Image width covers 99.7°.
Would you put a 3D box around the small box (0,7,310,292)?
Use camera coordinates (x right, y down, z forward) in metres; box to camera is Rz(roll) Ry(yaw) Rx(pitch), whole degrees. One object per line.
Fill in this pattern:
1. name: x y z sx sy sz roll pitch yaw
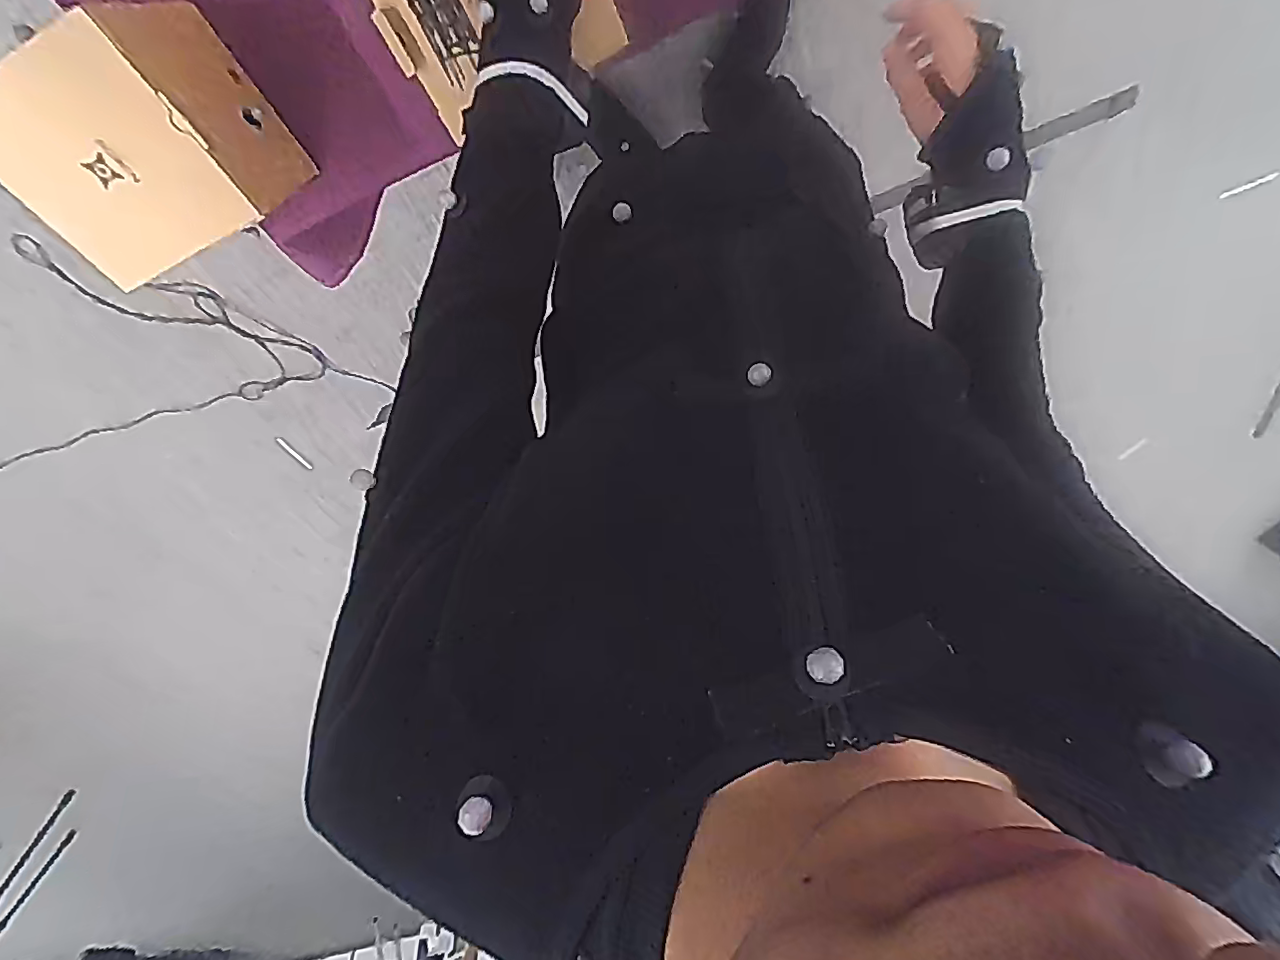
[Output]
1. small box: -0.472 -0.321 0.532 0.179 0.176 0.168 -23 131 10
